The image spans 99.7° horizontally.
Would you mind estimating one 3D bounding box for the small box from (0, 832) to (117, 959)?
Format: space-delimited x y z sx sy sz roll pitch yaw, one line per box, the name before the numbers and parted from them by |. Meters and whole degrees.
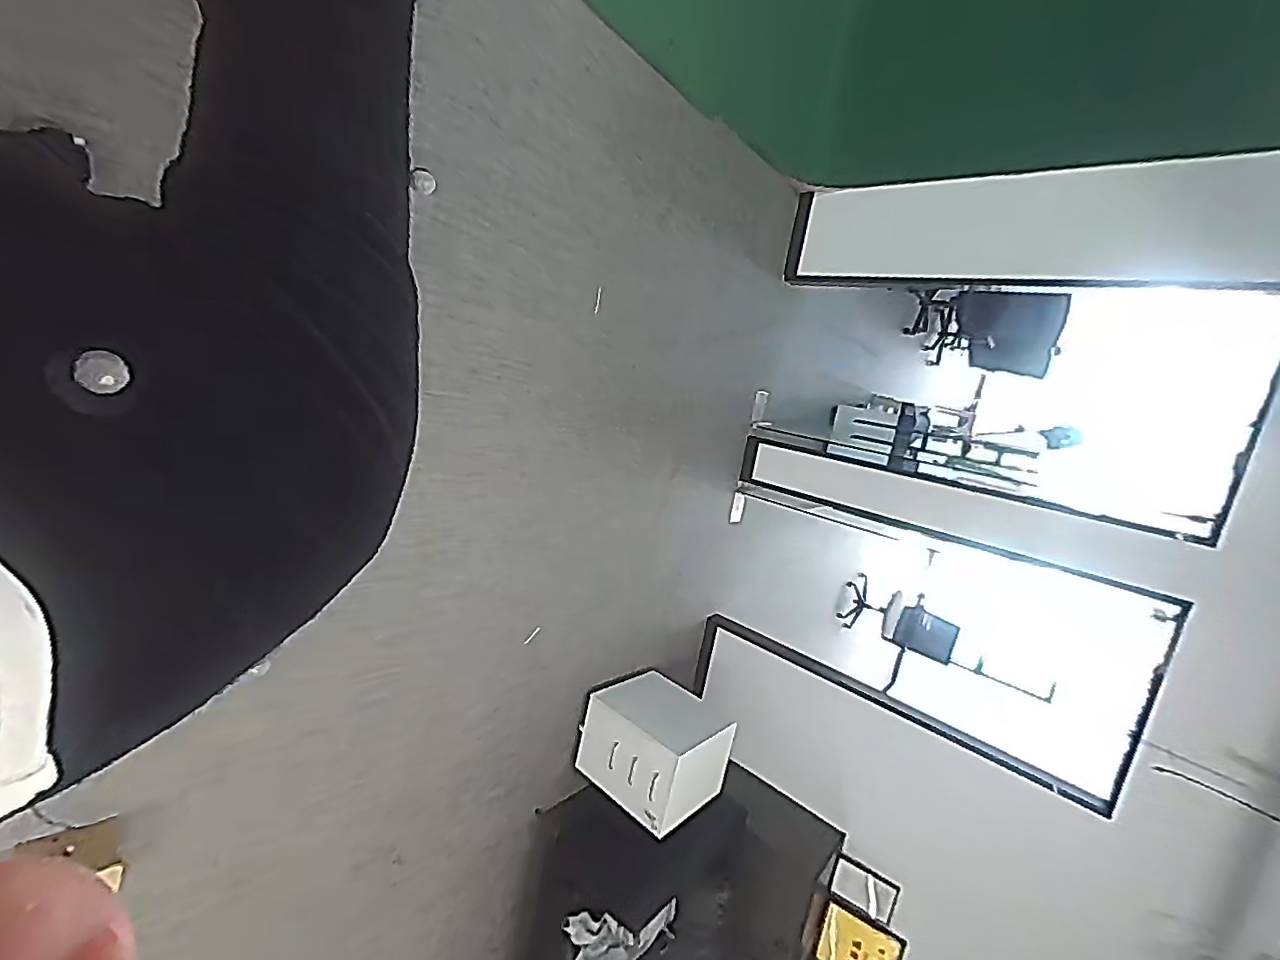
small box | -1.333 0.940 1.204 0.179 0.176 0.168 -32 129 -42
